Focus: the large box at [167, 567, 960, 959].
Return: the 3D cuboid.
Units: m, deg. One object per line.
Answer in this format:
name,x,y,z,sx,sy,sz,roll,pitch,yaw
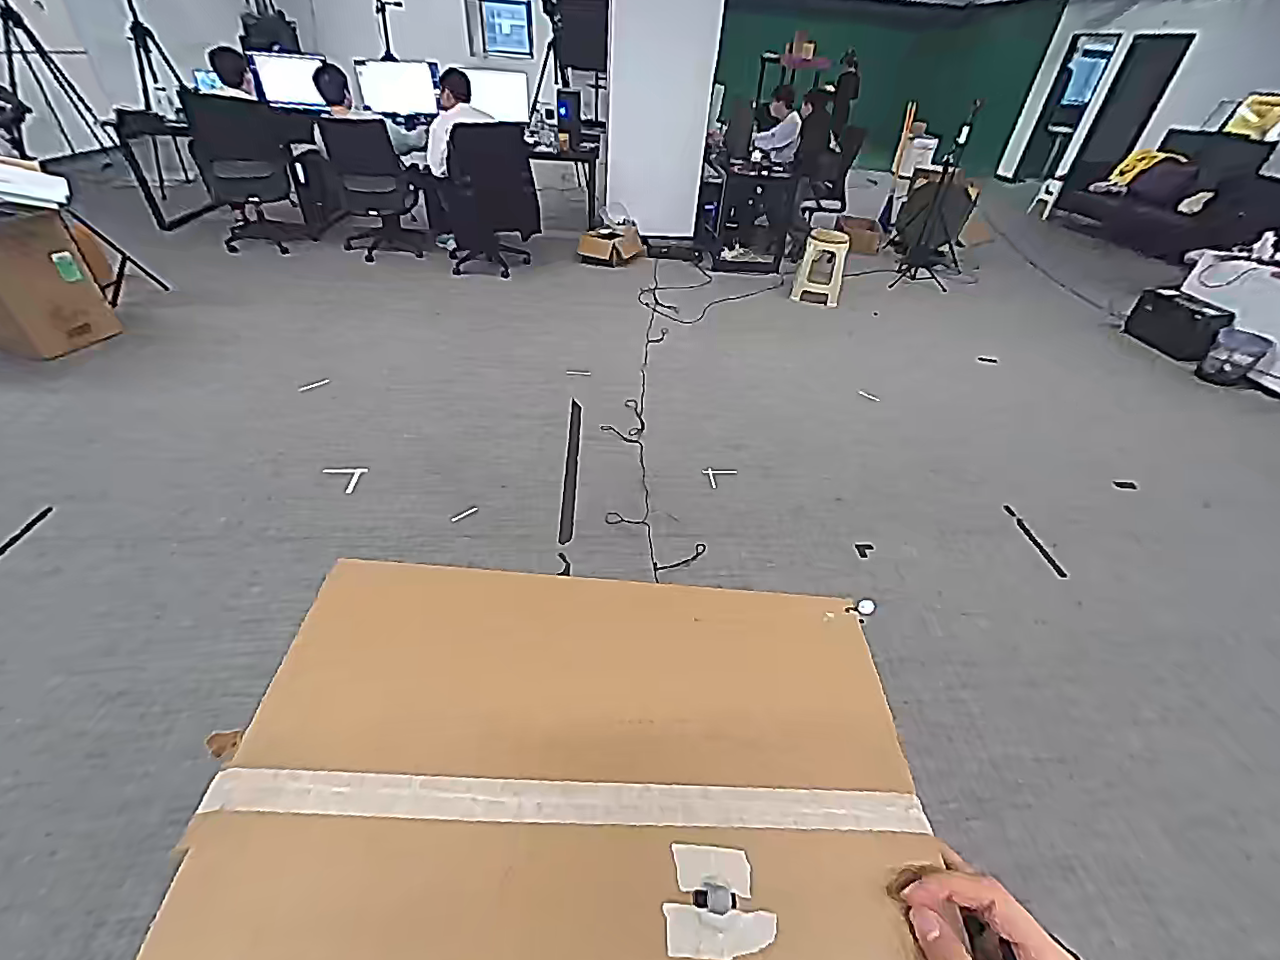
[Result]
large box,-0.047,0.296,0.425,0.408,0.320,0.320,6,45,-6
